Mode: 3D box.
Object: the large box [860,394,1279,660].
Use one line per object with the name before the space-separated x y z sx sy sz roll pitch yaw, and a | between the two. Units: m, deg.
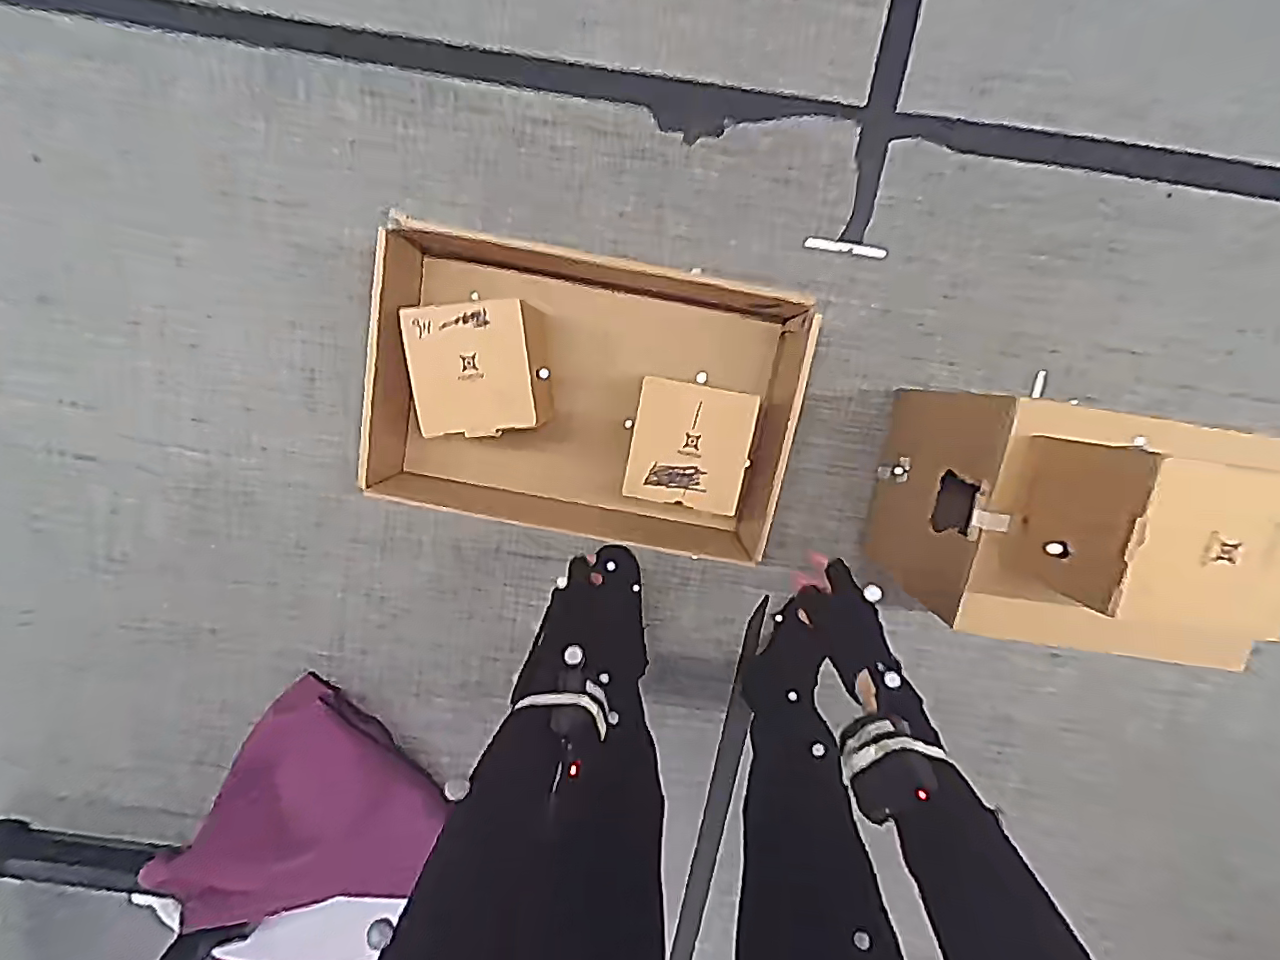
large box | 0.621 0.045 0.843 0.408 0.320 0.320 8 102 -3
